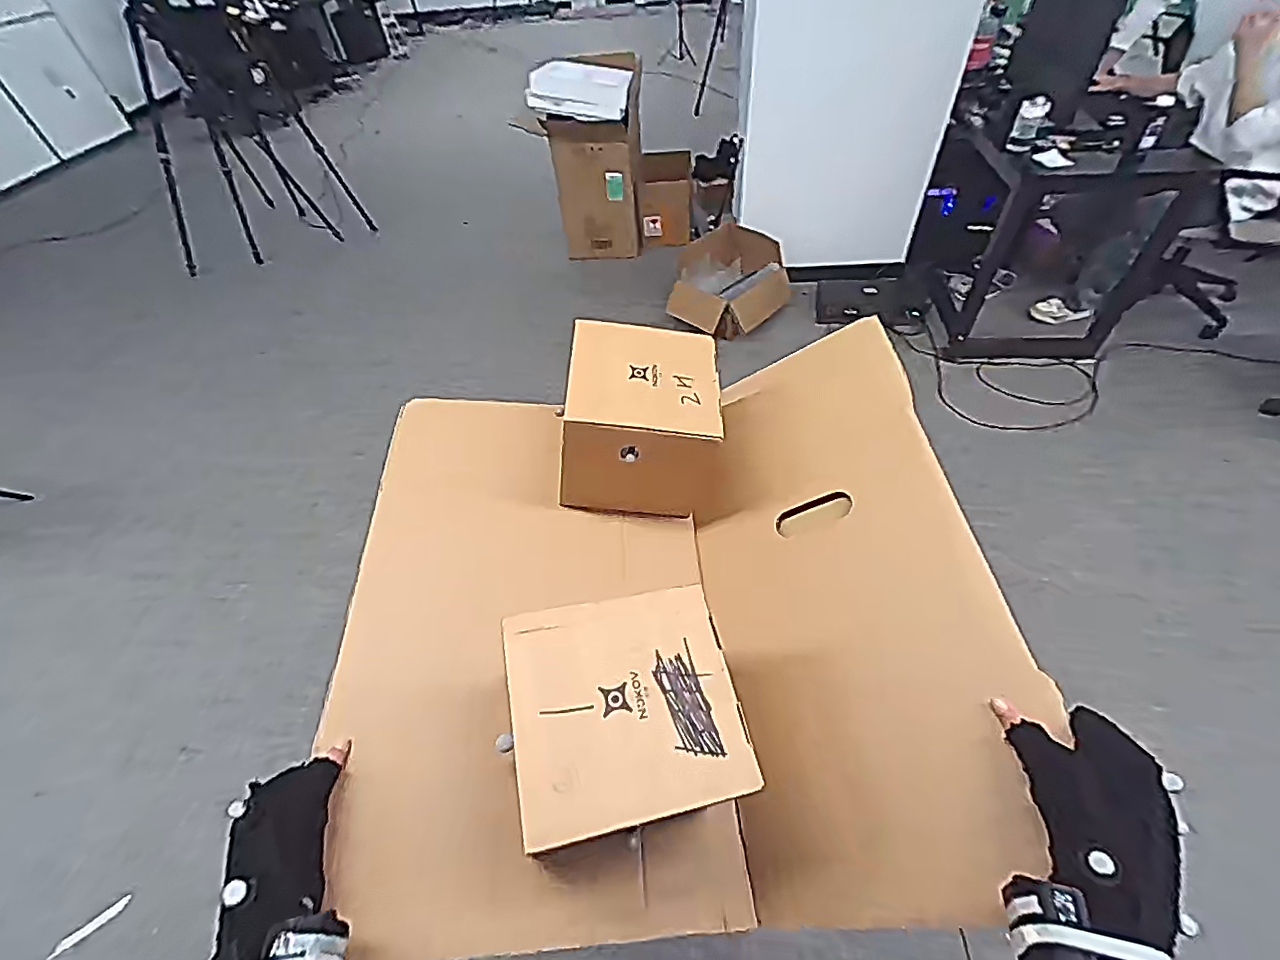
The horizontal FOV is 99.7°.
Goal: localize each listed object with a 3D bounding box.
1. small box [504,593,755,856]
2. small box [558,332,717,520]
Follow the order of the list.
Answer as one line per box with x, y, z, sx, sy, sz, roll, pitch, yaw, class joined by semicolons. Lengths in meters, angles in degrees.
-0.025;0.221;0.491;0.179;0.176;0.168;-7;57;-14;small box
-0.010;-0.063;0.695;0.179;0.176;0.168;6;55;-7;small box
